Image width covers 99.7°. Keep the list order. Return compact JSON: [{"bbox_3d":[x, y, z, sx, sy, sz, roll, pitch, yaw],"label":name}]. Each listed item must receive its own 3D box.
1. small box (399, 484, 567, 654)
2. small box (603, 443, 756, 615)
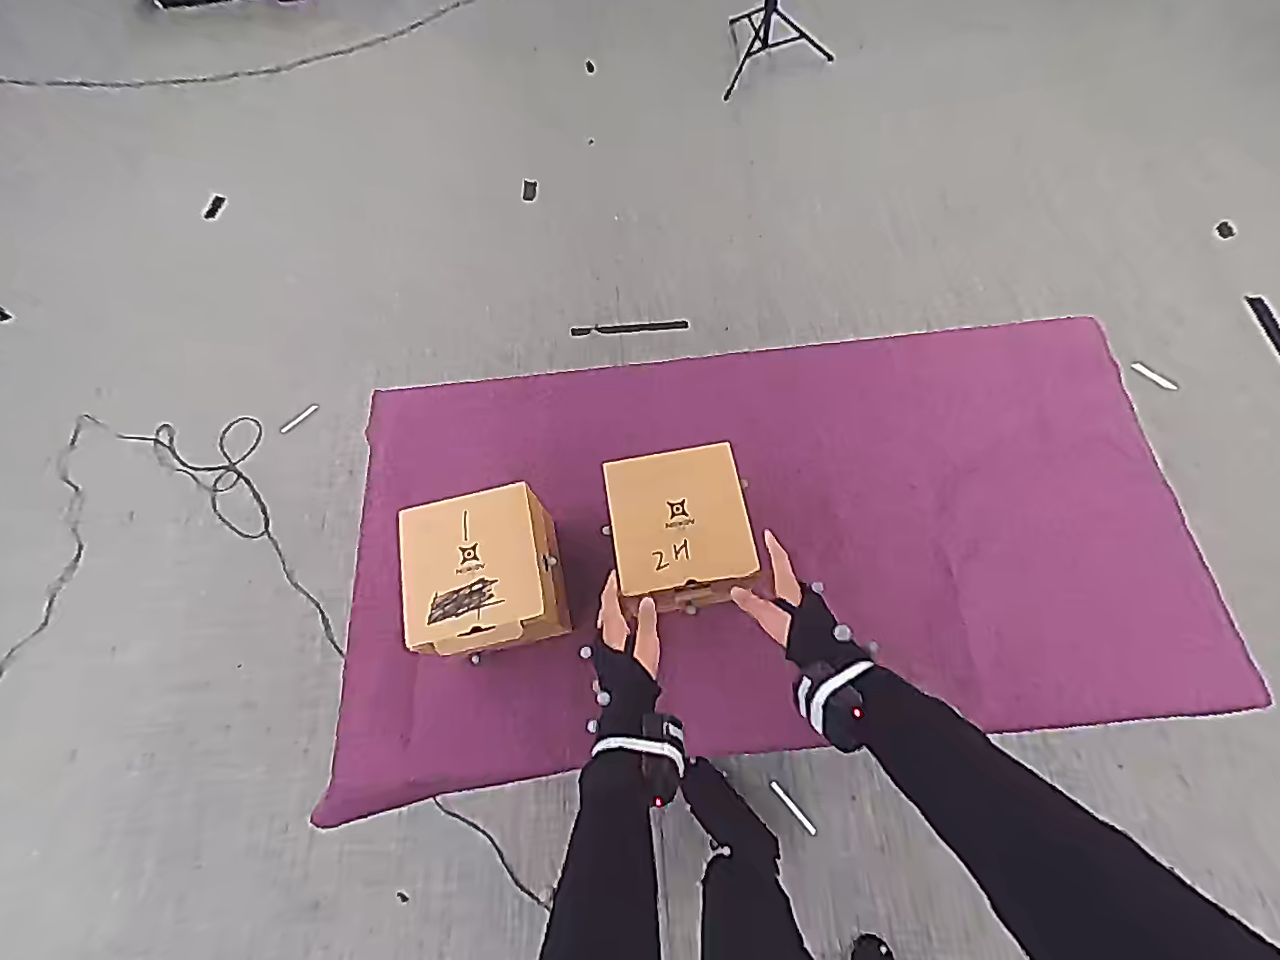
[{"bbox_3d":[-0.202,0.129,0.729,0.168,0.176,0.179,-13,67,-2],"label":"small box"},{"bbox_3d":[0.048,0.073,0.732,0.168,0.176,0.179,-10,68,1],"label":"small box"}]
